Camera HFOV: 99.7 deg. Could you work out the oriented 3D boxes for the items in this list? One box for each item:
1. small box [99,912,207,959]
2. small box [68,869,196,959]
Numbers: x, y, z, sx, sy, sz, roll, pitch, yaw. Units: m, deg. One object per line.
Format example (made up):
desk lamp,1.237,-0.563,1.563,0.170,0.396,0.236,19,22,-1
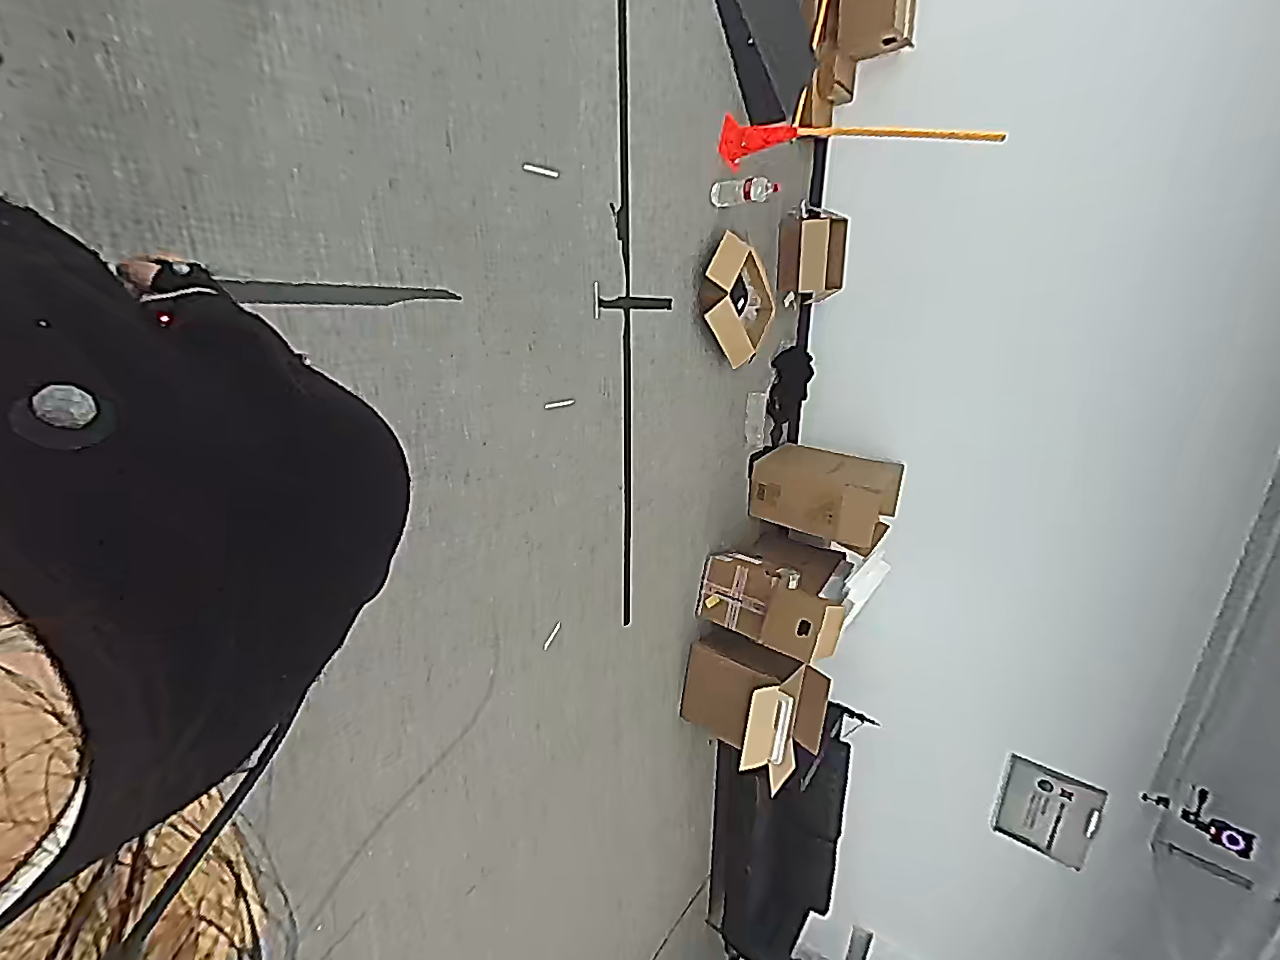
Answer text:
small box,-1.037,1.087,1.155,0.168,0.176,0.179,-29,124,-46
small box,-1.167,1.052,1.248,0.168,0.176,0.179,-27,122,-47
